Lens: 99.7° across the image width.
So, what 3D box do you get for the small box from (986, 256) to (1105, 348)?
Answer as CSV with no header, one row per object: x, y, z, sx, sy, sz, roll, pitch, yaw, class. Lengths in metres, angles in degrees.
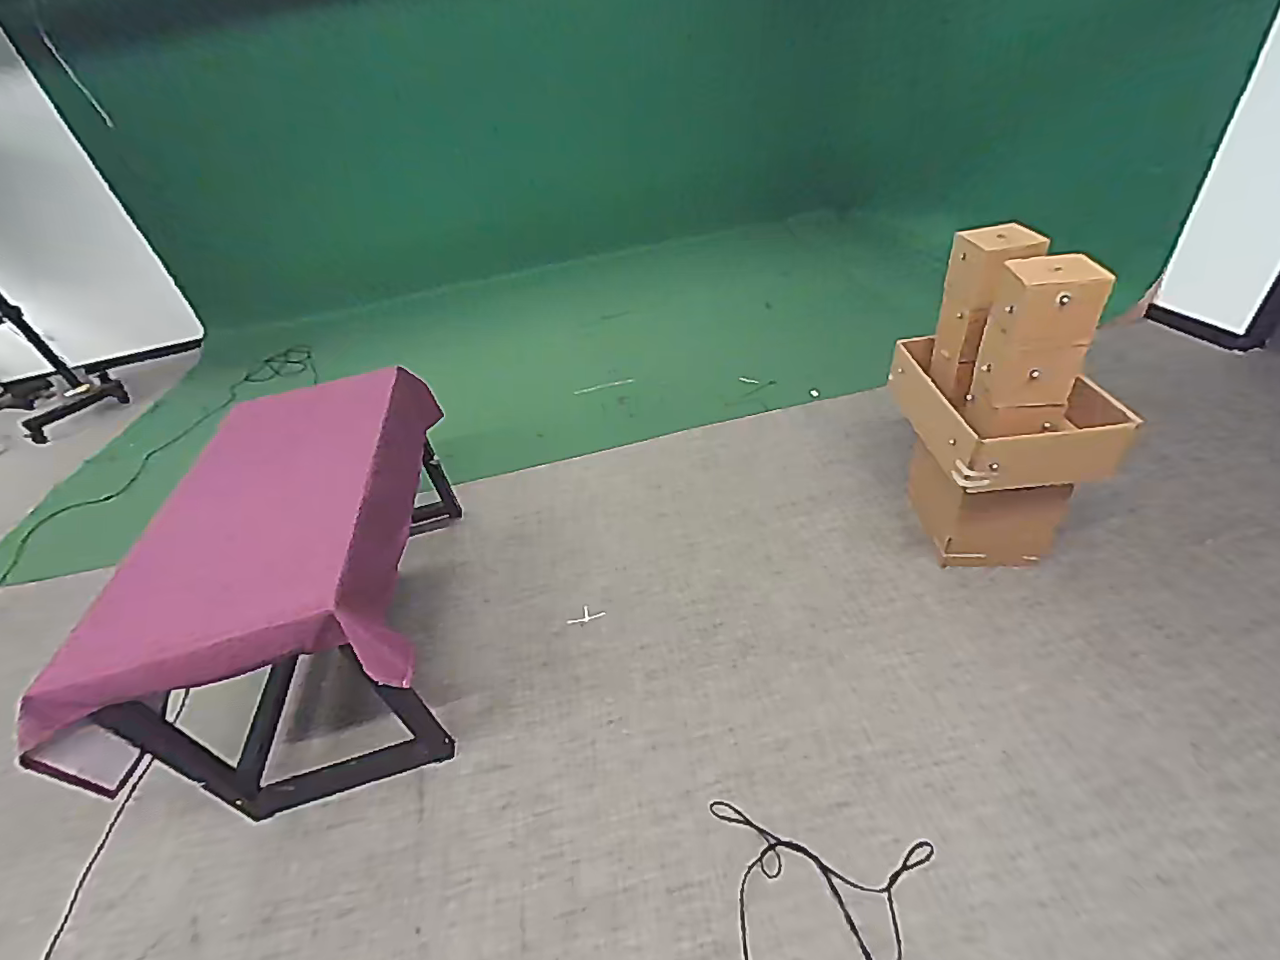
0.987,-0.438,1.340,0.179,0.176,0.168,-1,40,11,small box

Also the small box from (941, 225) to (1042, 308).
0.997,-0.613,1.555,0.168,0.176,0.179,-8,40,5,small box

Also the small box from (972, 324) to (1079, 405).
1.011,-0.311,1.442,0.179,0.176,0.168,-3,39,11,small box

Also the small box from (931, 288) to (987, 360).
1.024,-0.489,1.661,0.168,0.176,0.179,-7,40,5,small box
